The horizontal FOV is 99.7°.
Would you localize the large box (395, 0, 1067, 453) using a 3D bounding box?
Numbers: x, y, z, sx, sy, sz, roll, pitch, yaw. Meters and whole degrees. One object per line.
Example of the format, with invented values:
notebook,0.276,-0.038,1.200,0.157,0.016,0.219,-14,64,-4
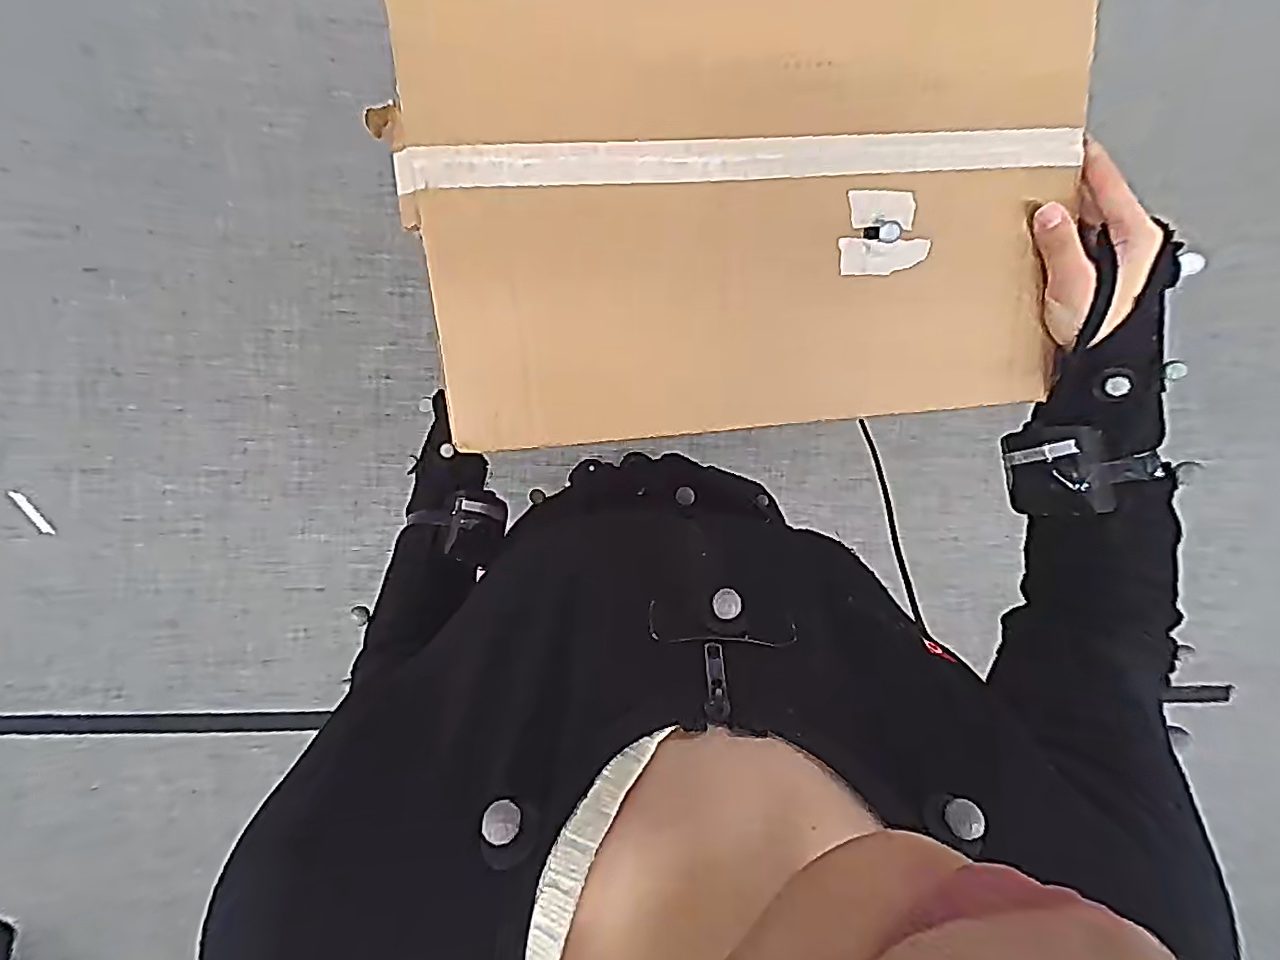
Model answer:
large box,0.050,-0.219,0.471,0.408,0.320,0.320,-7,104,-8
